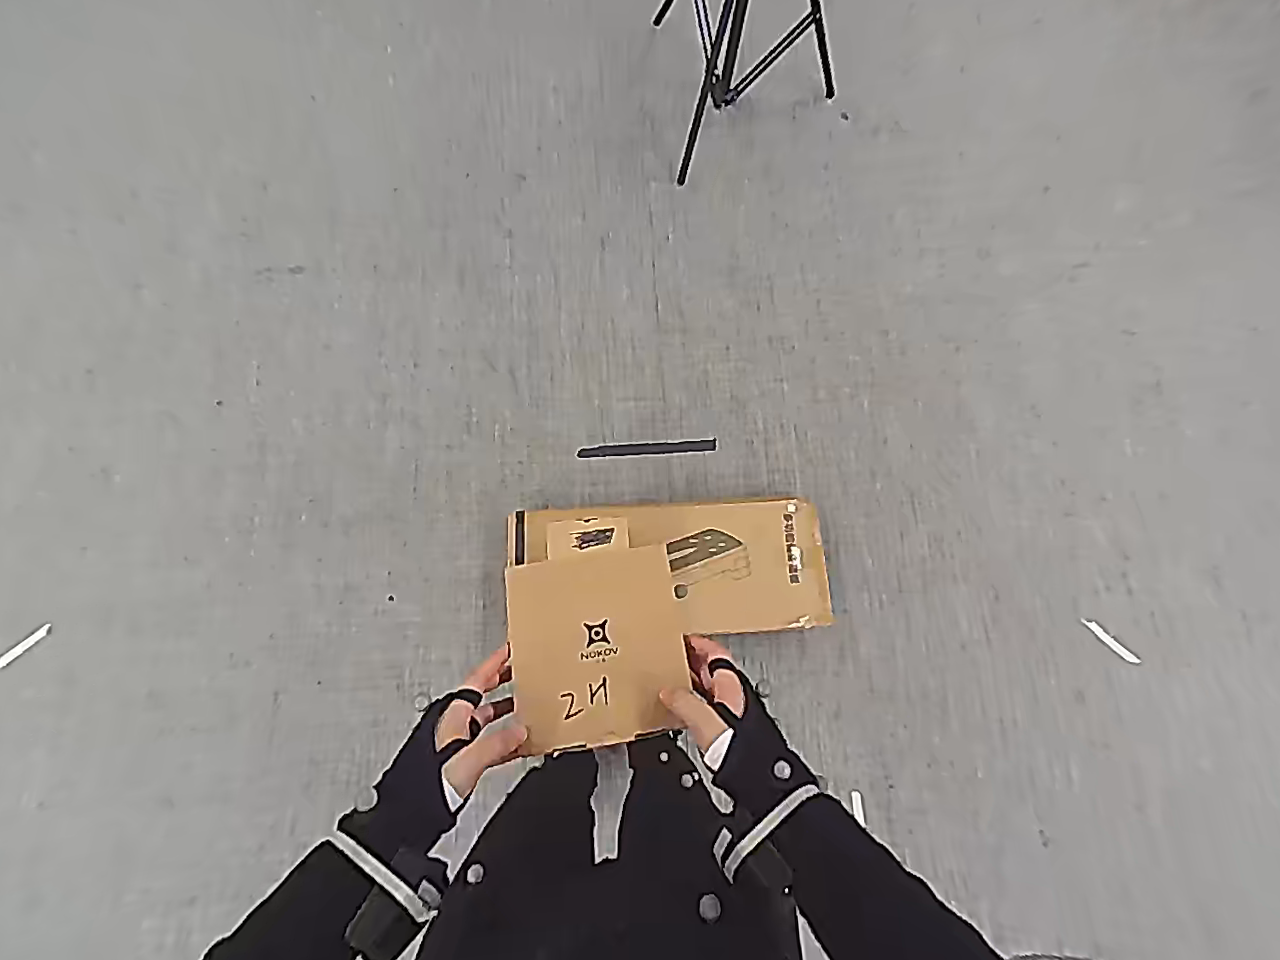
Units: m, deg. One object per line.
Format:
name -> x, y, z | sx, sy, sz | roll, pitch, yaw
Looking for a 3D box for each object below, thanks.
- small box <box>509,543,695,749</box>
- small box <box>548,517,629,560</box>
small box -> -0.043, 0.185, 0.598 | 0.168, 0.176, 0.179 | -8, 68, -4
small box -> -0.106, 0.181, 1.163 | 0.168, 0.176, 0.179 | -4, 78, -3
